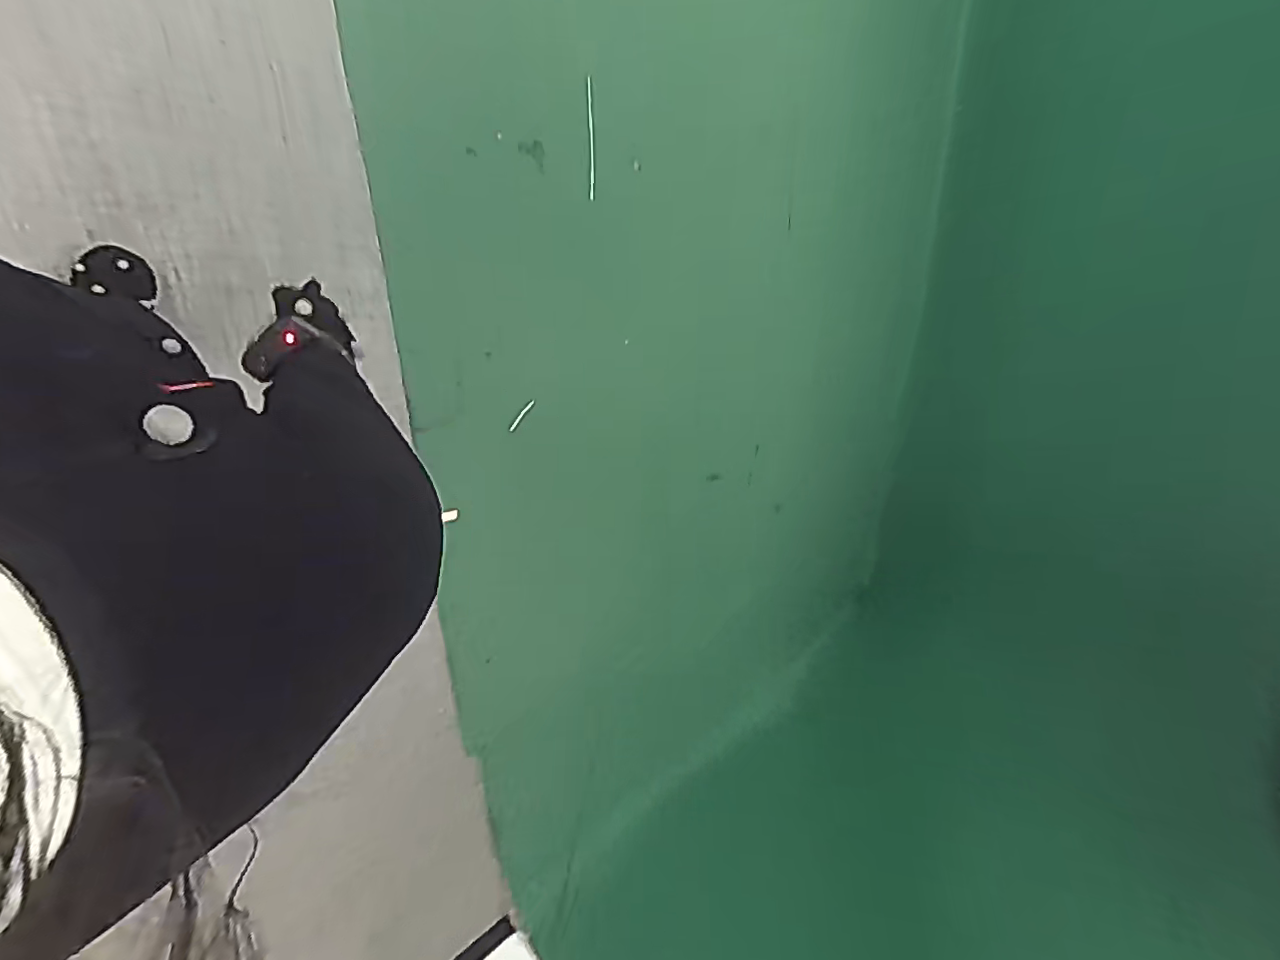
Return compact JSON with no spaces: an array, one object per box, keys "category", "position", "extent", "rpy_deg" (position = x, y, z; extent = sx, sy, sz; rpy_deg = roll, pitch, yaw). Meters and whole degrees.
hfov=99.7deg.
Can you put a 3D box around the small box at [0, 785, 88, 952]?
[{"category":"small box","position":[-1.114,0.683,0.935],"extent":[0.179,0.176,0.168],"rpy_deg":[-35,126,-31]}]

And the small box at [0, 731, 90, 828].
[{"category":"small box","position":[-1.222,0.637,1.046],"extent":[0.179,0.176,0.168],"rpy_deg":[-33,127,-33]}]
